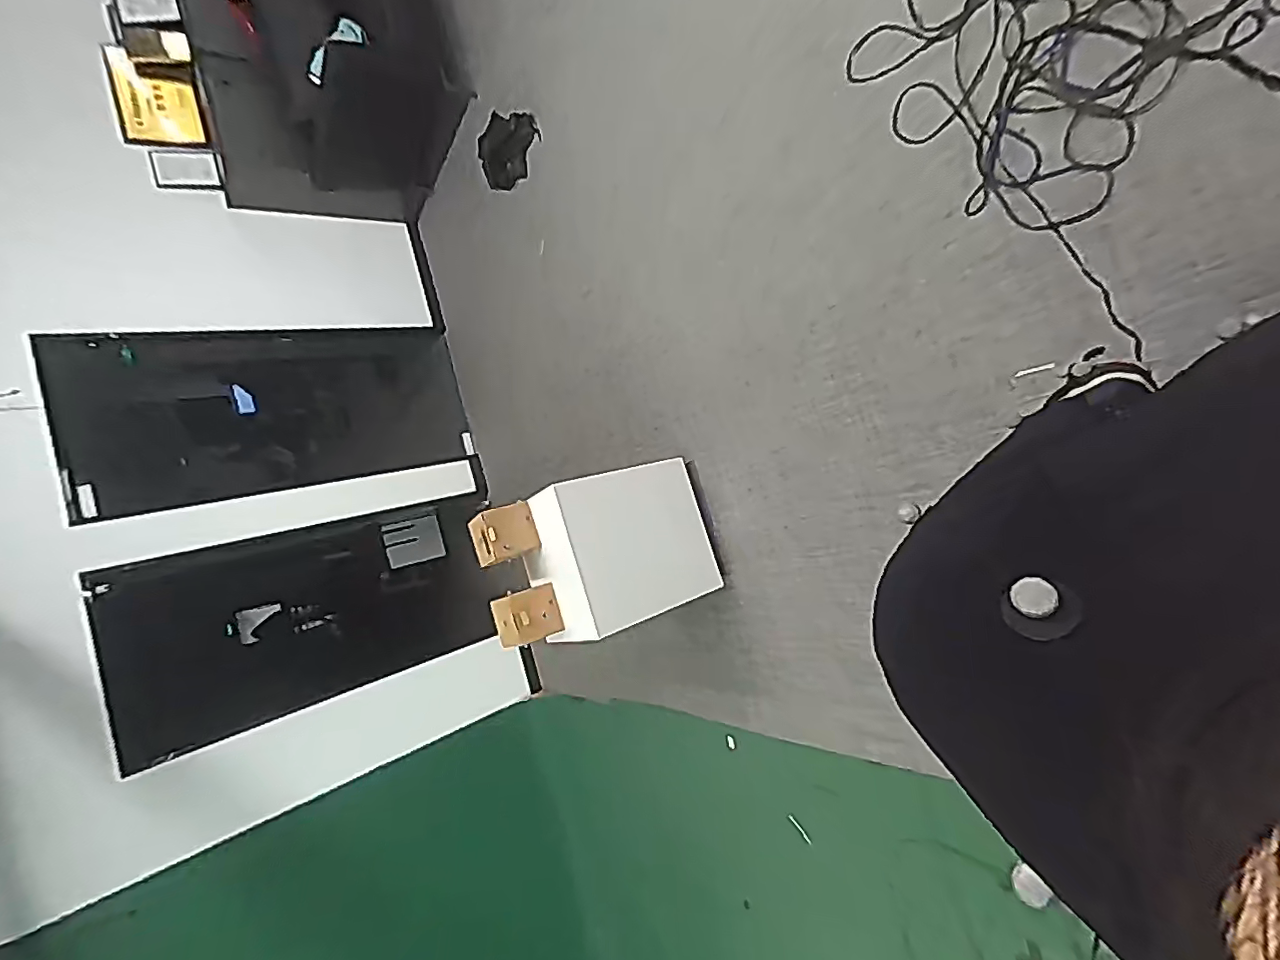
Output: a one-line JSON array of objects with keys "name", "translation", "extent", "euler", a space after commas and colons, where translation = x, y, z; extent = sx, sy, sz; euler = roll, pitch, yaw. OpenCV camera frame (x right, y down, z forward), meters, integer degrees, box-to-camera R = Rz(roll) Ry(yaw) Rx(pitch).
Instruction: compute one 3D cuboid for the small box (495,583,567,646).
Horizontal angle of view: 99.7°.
[{"name": "small box", "translation": [-0.373, 0.462, 1.855], "extent": [0.179, 0.176, 0.168], "euler": [-27, 78, 52]}]
